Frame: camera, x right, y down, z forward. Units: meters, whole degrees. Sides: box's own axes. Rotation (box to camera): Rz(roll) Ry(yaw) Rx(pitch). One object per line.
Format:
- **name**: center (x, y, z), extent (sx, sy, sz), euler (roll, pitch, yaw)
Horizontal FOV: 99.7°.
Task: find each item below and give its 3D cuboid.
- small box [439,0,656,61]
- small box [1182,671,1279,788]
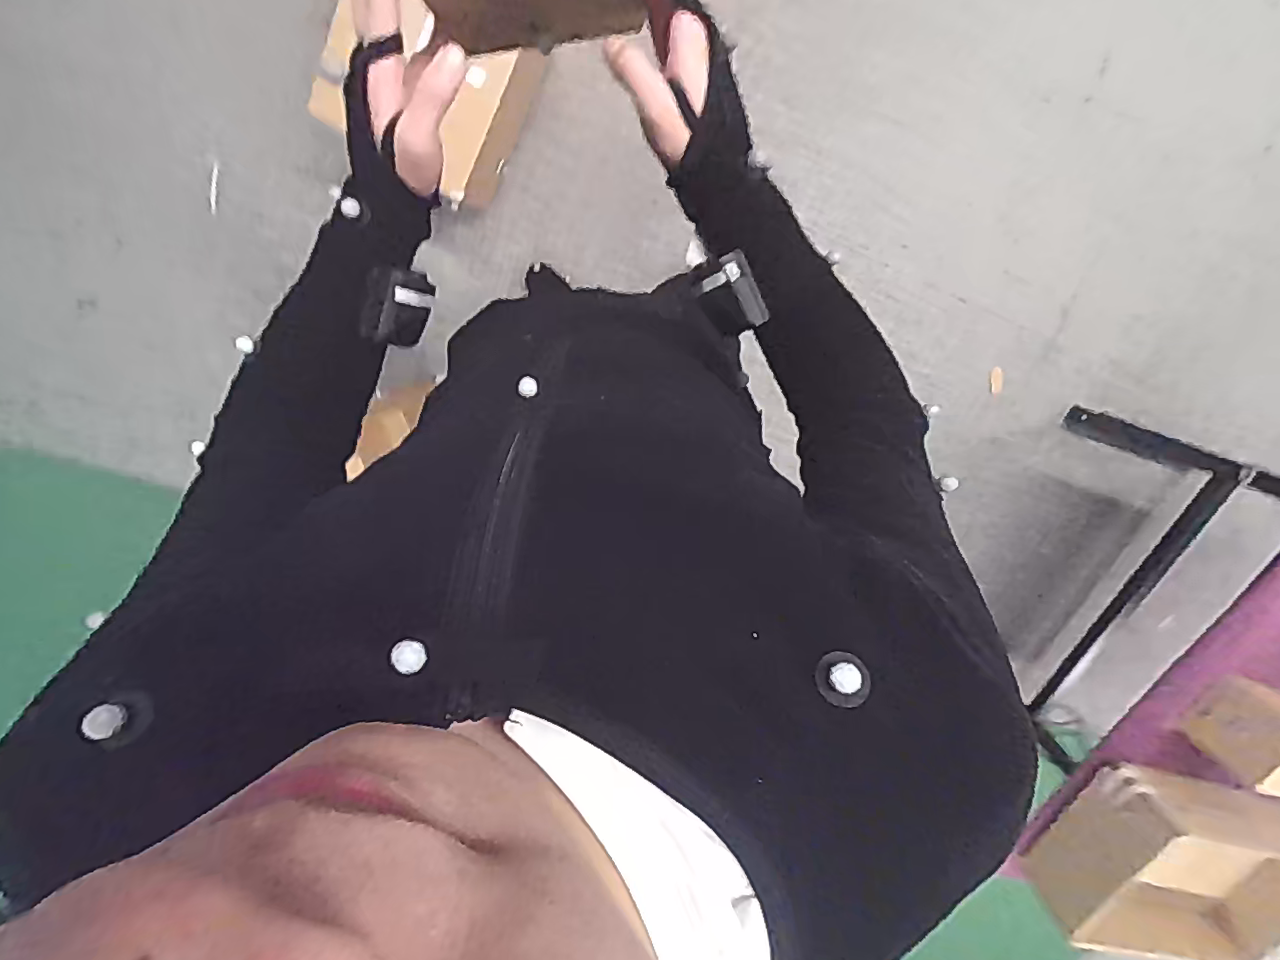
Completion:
- **small box**: center (-0.077, -0.427, 0.372), extent (0.168, 0.176, 0.179), euler (-9, 115, -1)
- **small box**: center (1.371, 0.545, 1.181), extent (0.179, 0.176, 0.168), euler (17, 112, -13)
